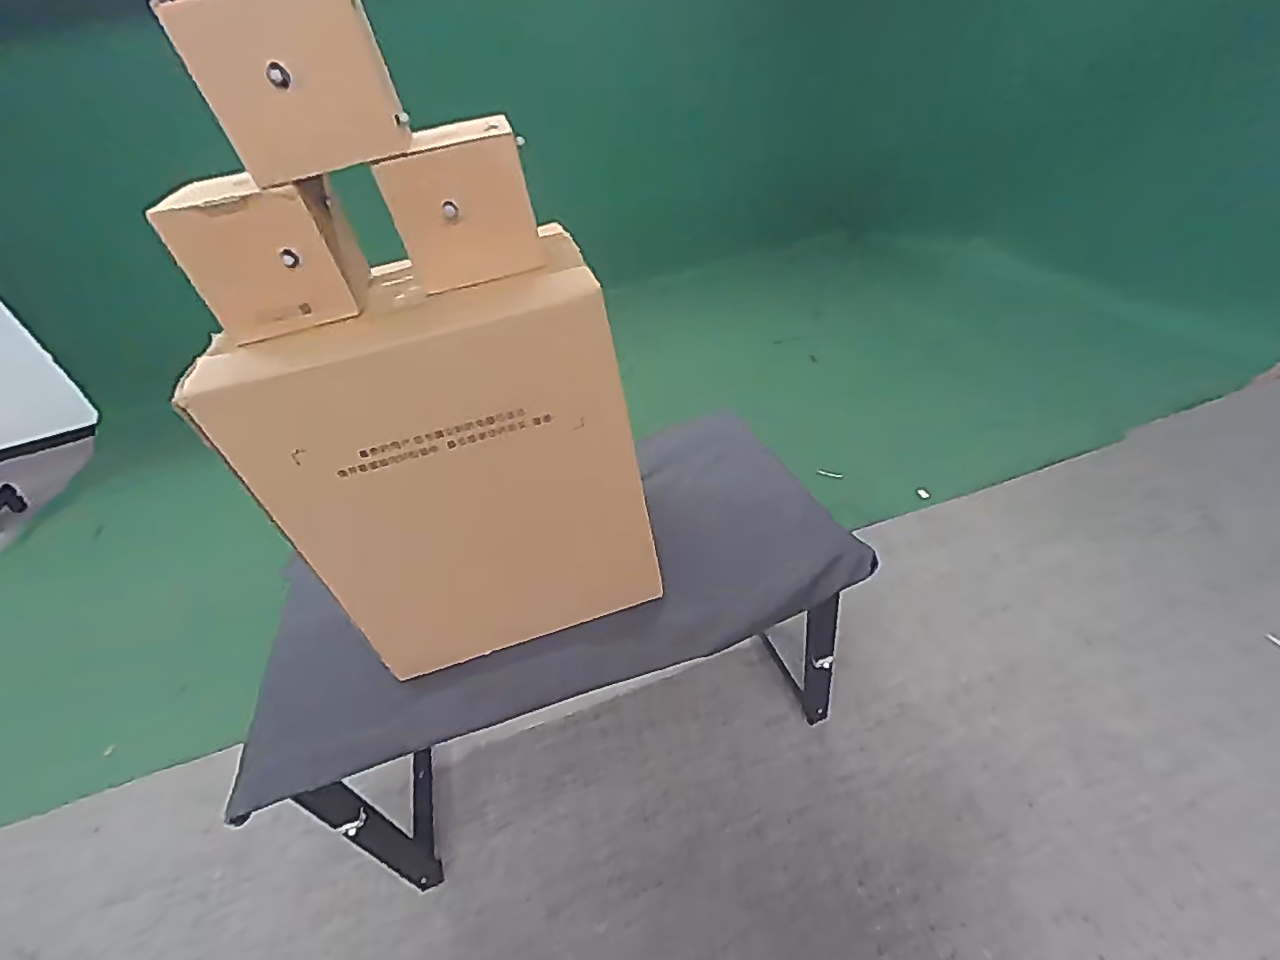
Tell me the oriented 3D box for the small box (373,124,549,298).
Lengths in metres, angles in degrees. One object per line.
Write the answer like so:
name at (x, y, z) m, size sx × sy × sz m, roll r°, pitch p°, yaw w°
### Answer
small box at (-0.243, -0.378, 0.765) m, size 0.179 × 0.176 × 0.168 m, roll -17°, pitch 42°, yaw -4°

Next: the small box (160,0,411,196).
small box at (-0.392, -0.461, 0.643) m, size 0.179 × 0.176 × 0.168 m, roll -19°, pitch 41°, yaw -5°

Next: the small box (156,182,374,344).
small box at (-0.486, -0.301, 0.738) m, size 0.168 × 0.176 × 0.179 m, roll -16°, pitch 40°, yaw -7°
